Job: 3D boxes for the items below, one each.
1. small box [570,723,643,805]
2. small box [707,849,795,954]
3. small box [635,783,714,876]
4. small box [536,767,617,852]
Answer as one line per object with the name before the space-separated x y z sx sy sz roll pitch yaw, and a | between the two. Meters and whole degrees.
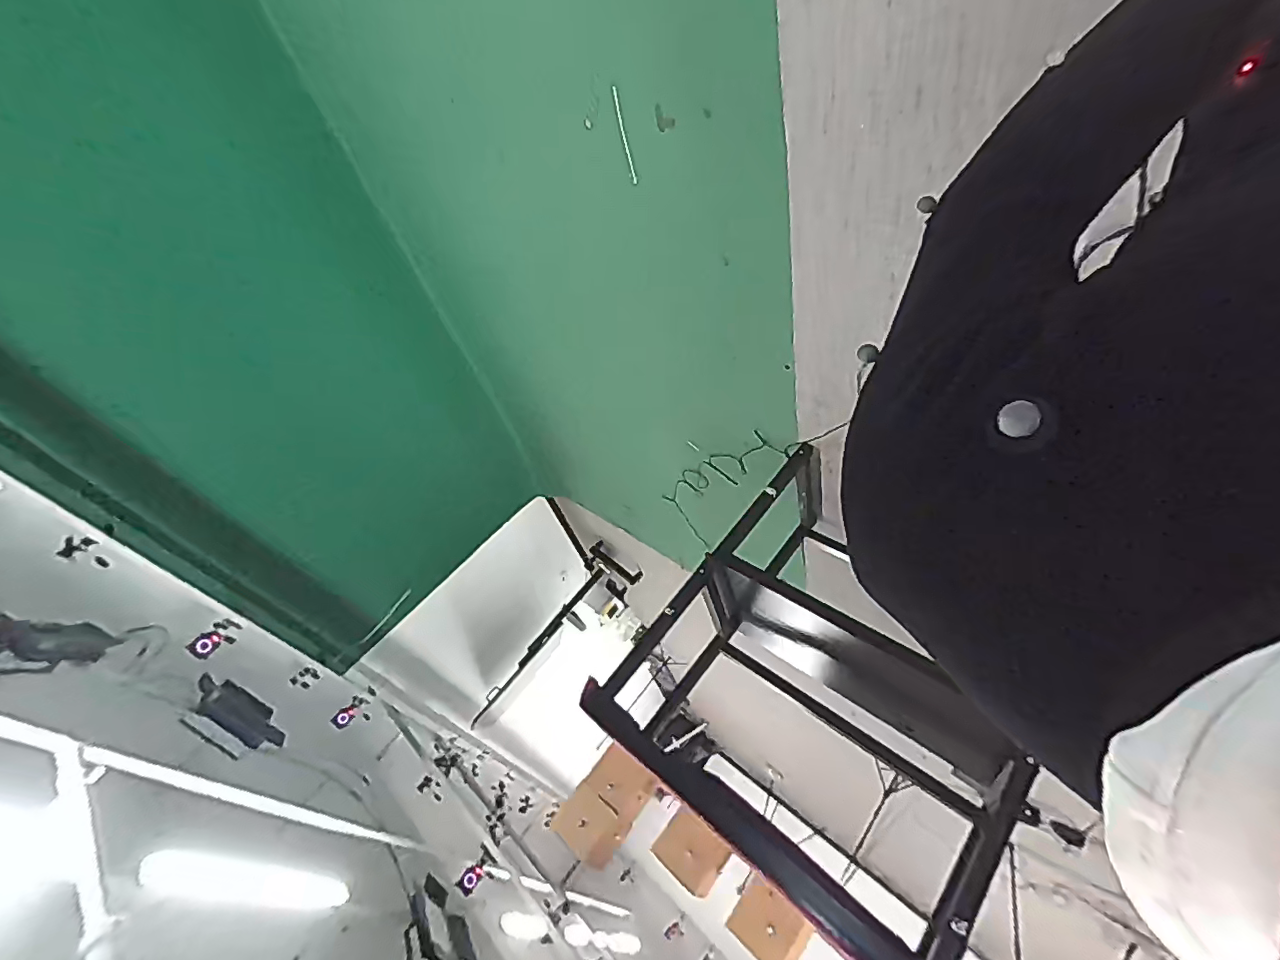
small box | -0.106 0.979 1.869 0.179 0.176 0.168 28 154 31
small box | 0.319 1.186 1.531 0.168 0.176 0.179 23 152 39
small box | 0.117 1.085 1.683 0.179 0.176 0.168 27 153 33
small box | -0.207 1.092 1.806 0.179 0.176 0.168 23 151 36
